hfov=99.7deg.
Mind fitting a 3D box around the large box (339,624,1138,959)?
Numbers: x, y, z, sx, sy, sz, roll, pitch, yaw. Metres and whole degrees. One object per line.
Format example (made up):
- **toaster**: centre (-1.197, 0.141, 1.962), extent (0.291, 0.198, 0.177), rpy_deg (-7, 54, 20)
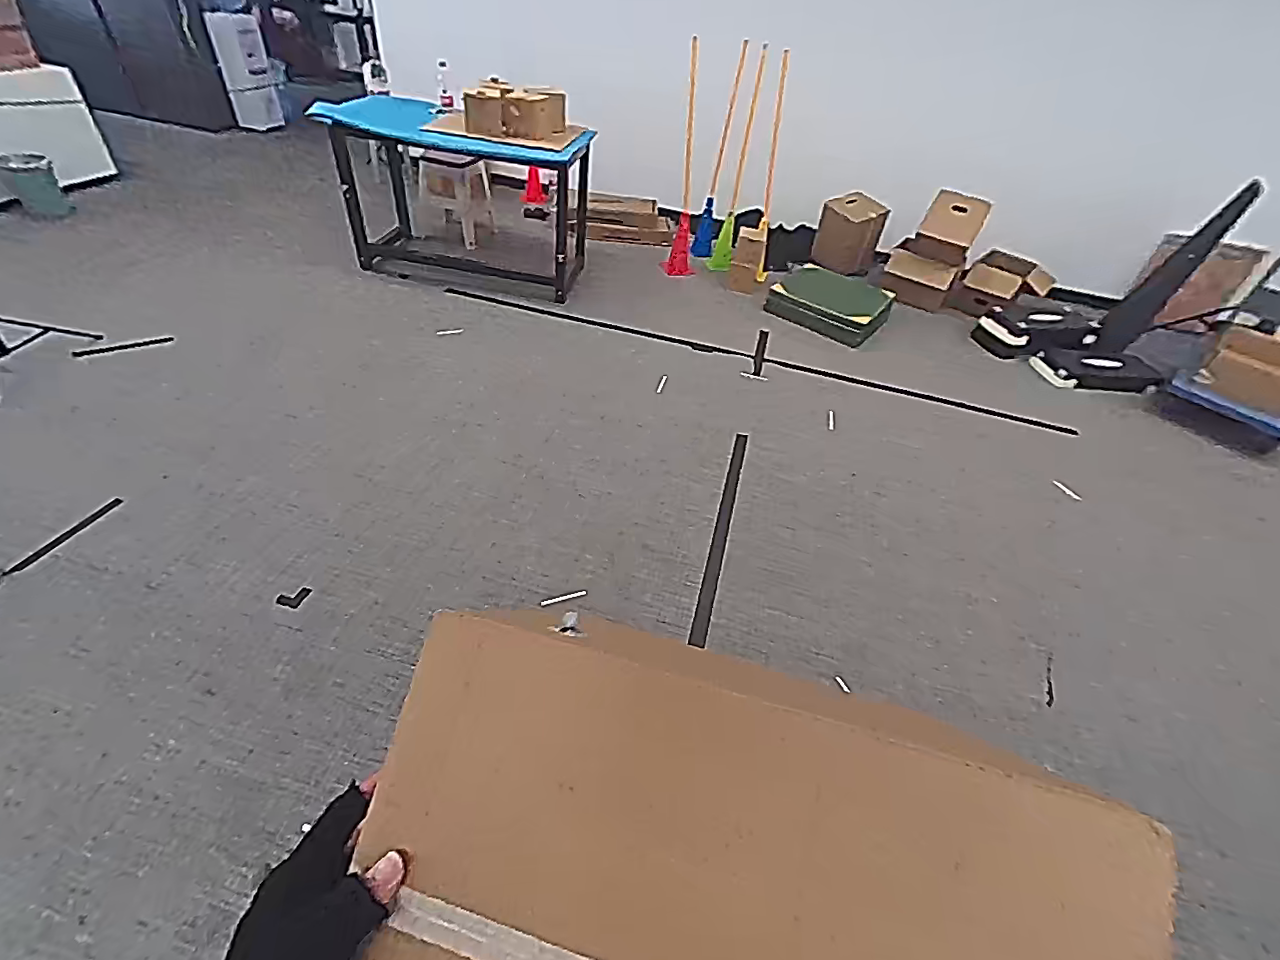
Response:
- **large box**: centre (0.047, 0.313, 0.426), extent (0.408, 0.320, 0.320), rpy_deg (13, 79, 11)
